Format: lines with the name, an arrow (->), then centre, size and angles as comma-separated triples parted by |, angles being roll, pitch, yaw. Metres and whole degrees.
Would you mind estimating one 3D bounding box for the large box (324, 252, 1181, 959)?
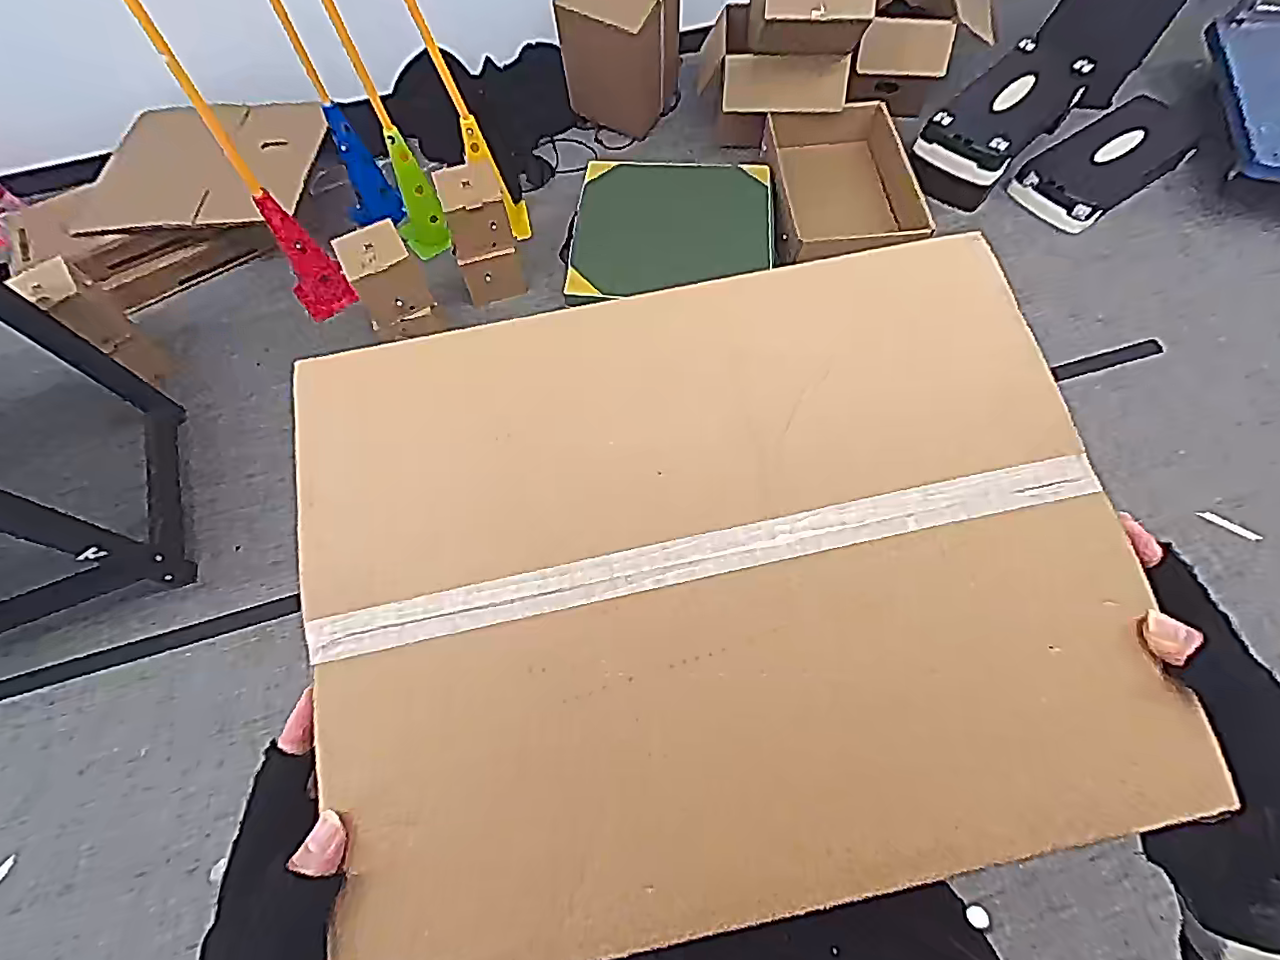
large box -> 0.038, 0.083, 0.434 | 0.408, 0.320, 0.320 | -12, 75, -2
